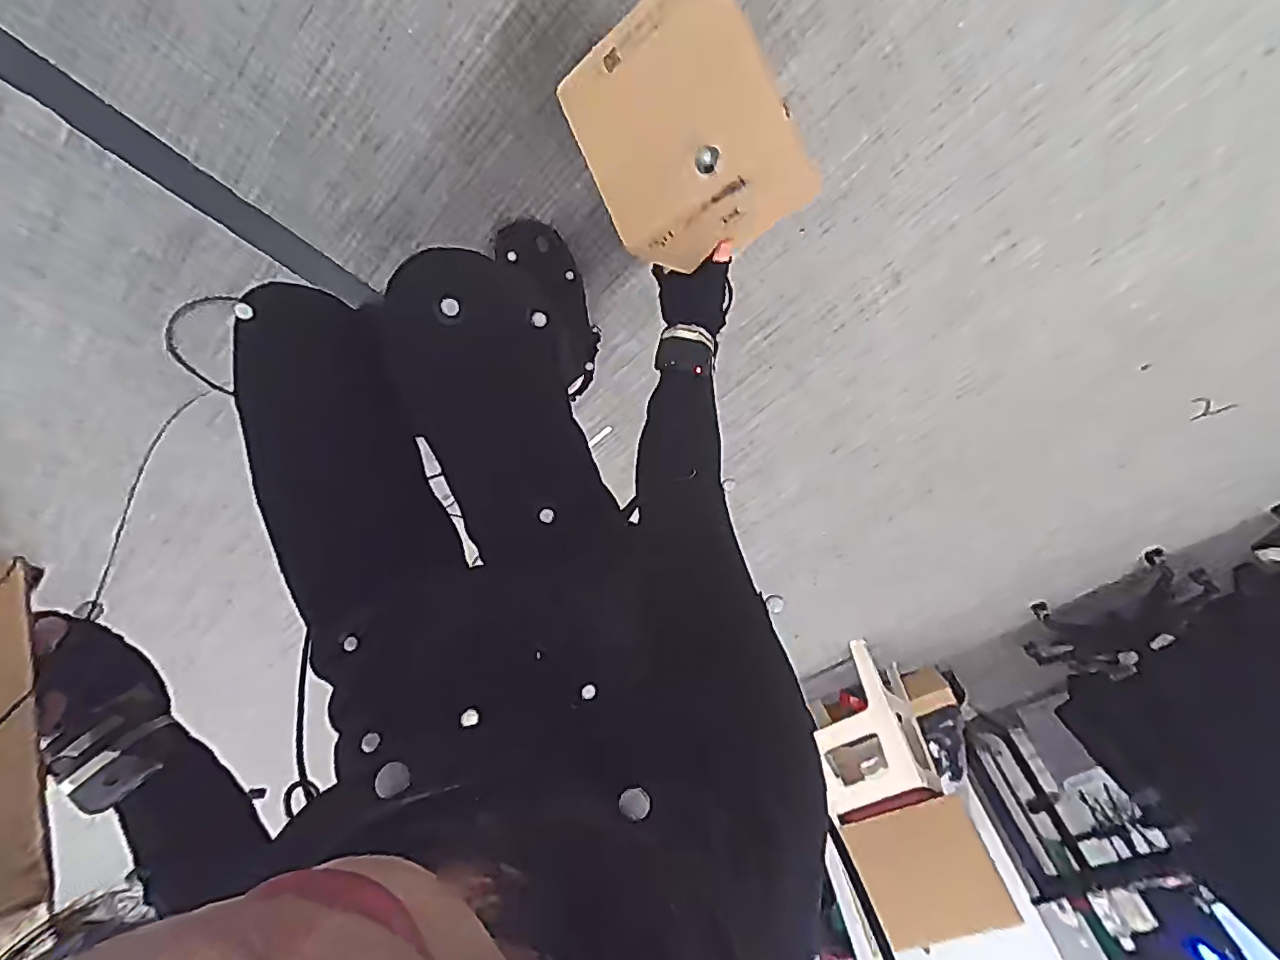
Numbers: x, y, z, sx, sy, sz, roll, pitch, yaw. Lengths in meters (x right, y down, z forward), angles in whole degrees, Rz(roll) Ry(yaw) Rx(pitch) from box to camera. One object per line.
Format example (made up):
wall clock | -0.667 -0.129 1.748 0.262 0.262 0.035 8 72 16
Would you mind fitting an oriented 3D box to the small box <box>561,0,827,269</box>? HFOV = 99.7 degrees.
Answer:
small box | 0.059 -0.328 0.517 0.168 0.179 0.176 -24 92 30
